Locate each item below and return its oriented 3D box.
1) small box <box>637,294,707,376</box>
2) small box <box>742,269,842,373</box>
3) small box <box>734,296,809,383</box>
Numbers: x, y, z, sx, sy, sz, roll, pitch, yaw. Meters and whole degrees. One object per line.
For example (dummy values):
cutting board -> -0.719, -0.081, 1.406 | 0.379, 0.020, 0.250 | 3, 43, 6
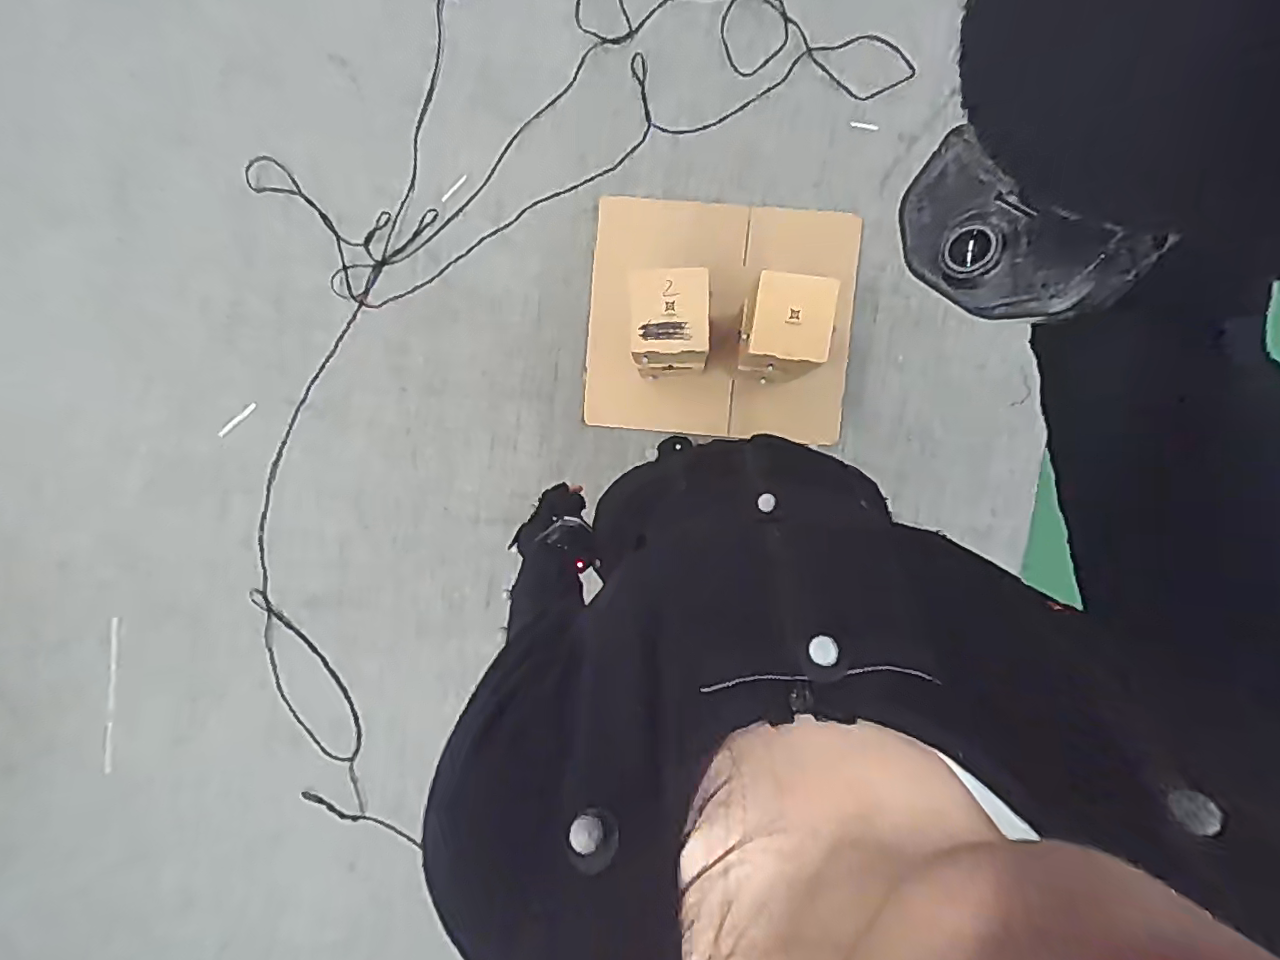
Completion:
small box -> 0.081, -0.359, 1.364 | 0.168, 0.176, 0.179 | 1, 94, 3
small box -> 0.325, -0.343, 1.194 | 0.168, 0.176, 0.179 | 8, 95, 3
small box -> 0.331, -0.347, 1.356 | 0.168, 0.176, 0.179 | 5, 95, 4
